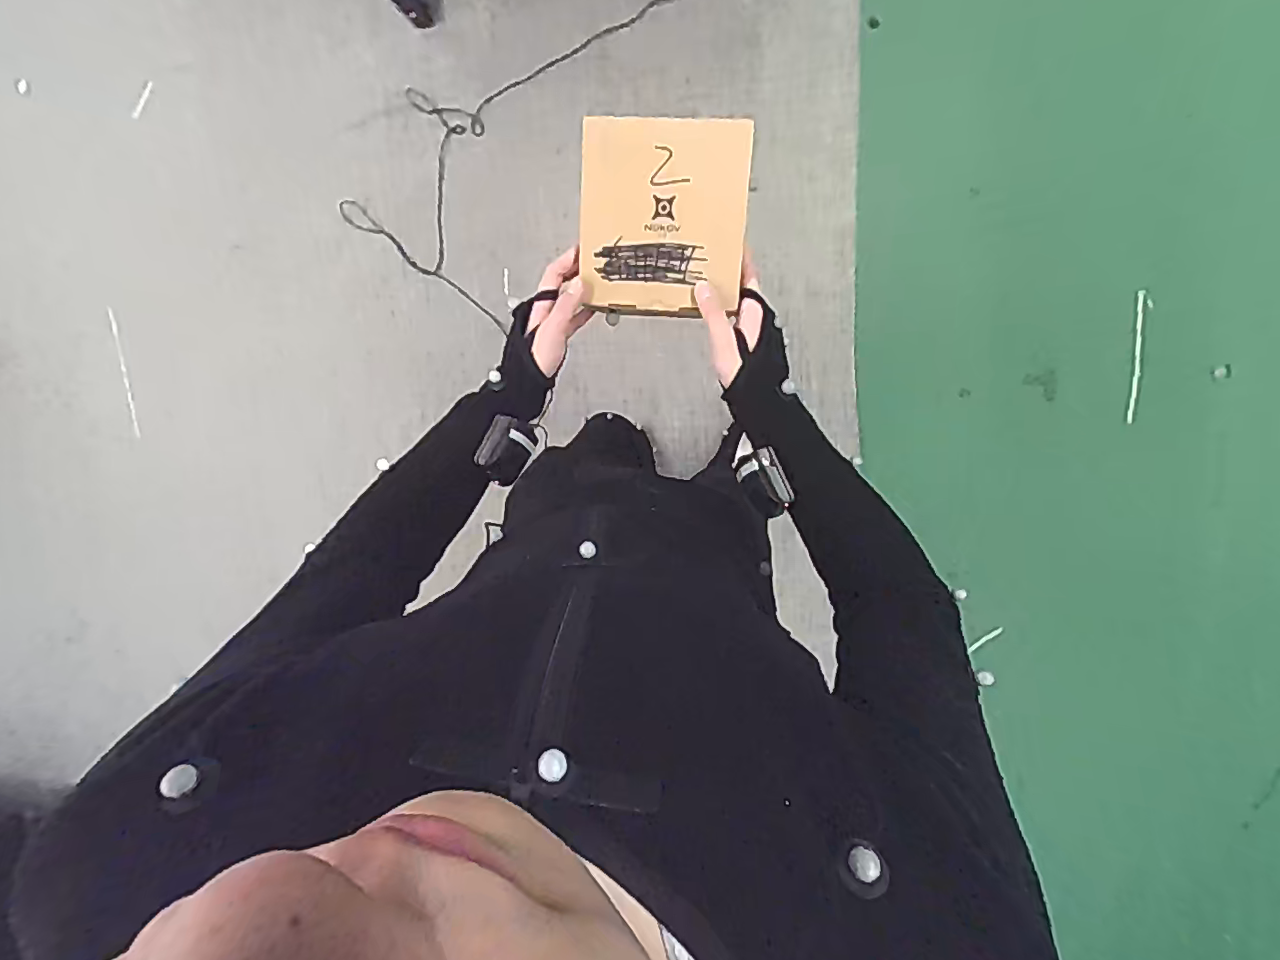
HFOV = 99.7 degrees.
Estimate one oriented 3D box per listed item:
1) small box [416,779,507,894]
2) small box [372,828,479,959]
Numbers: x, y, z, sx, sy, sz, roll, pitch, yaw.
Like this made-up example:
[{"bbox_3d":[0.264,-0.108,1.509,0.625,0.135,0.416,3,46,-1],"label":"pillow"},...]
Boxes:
[{"bbox_3d":[-0.450,0.904,1.364,0.168,0.176,0.179,10,101,9],"label":"small box"},{"bbox_3d":[-0.475,0.930,1.206,0.168,0.176,0.179,9,101,9],"label":"small box"}]
